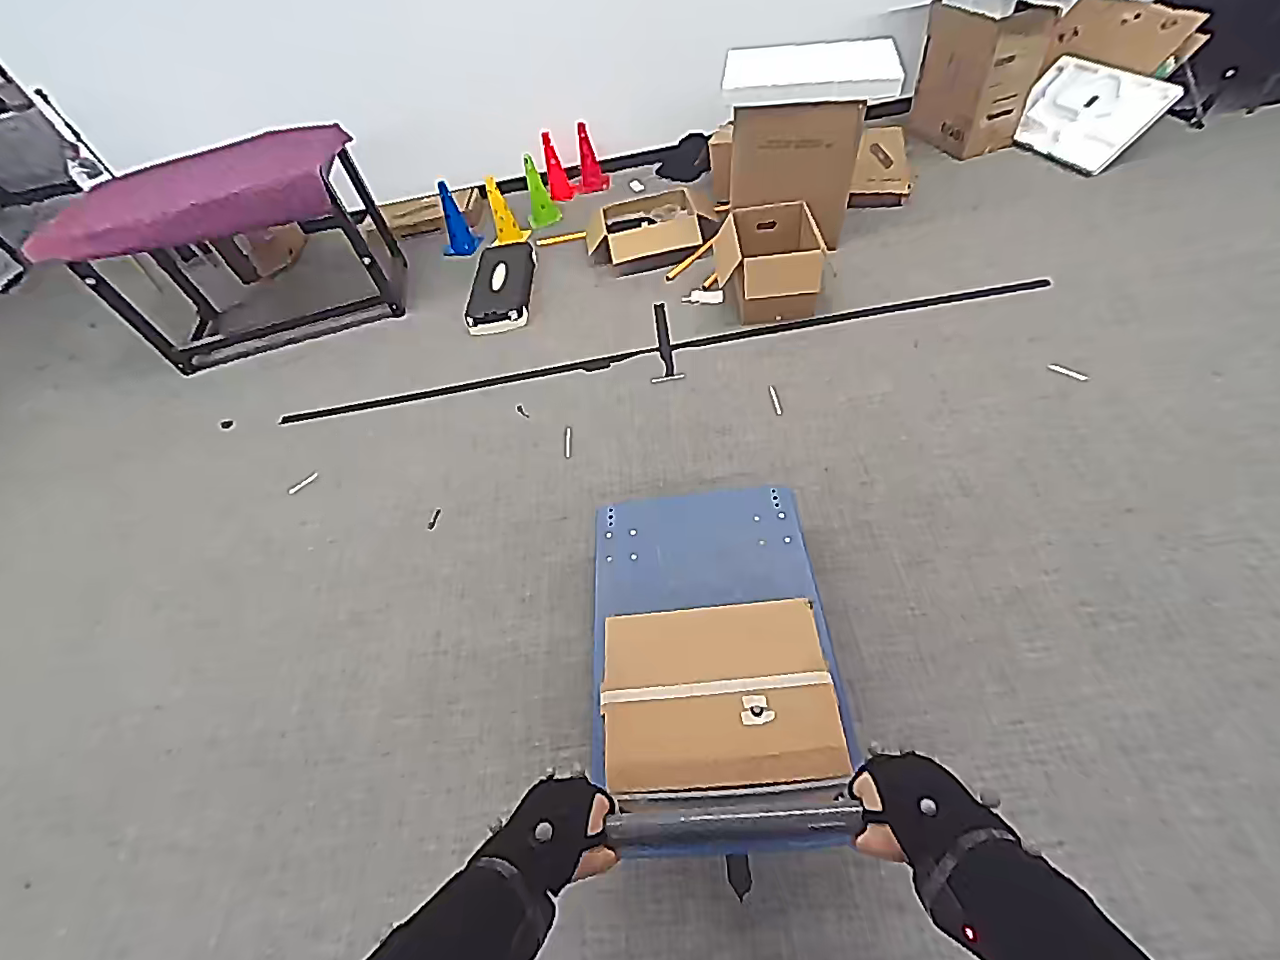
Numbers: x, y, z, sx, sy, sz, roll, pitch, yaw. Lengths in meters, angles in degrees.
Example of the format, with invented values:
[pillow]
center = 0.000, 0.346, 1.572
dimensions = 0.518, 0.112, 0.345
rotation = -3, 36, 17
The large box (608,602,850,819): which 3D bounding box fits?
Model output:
[large box]
center = 0.158, 0.477, 1.102
dimensions = 0.408, 0.320, 0.320
rotation = -7, 52, 4
